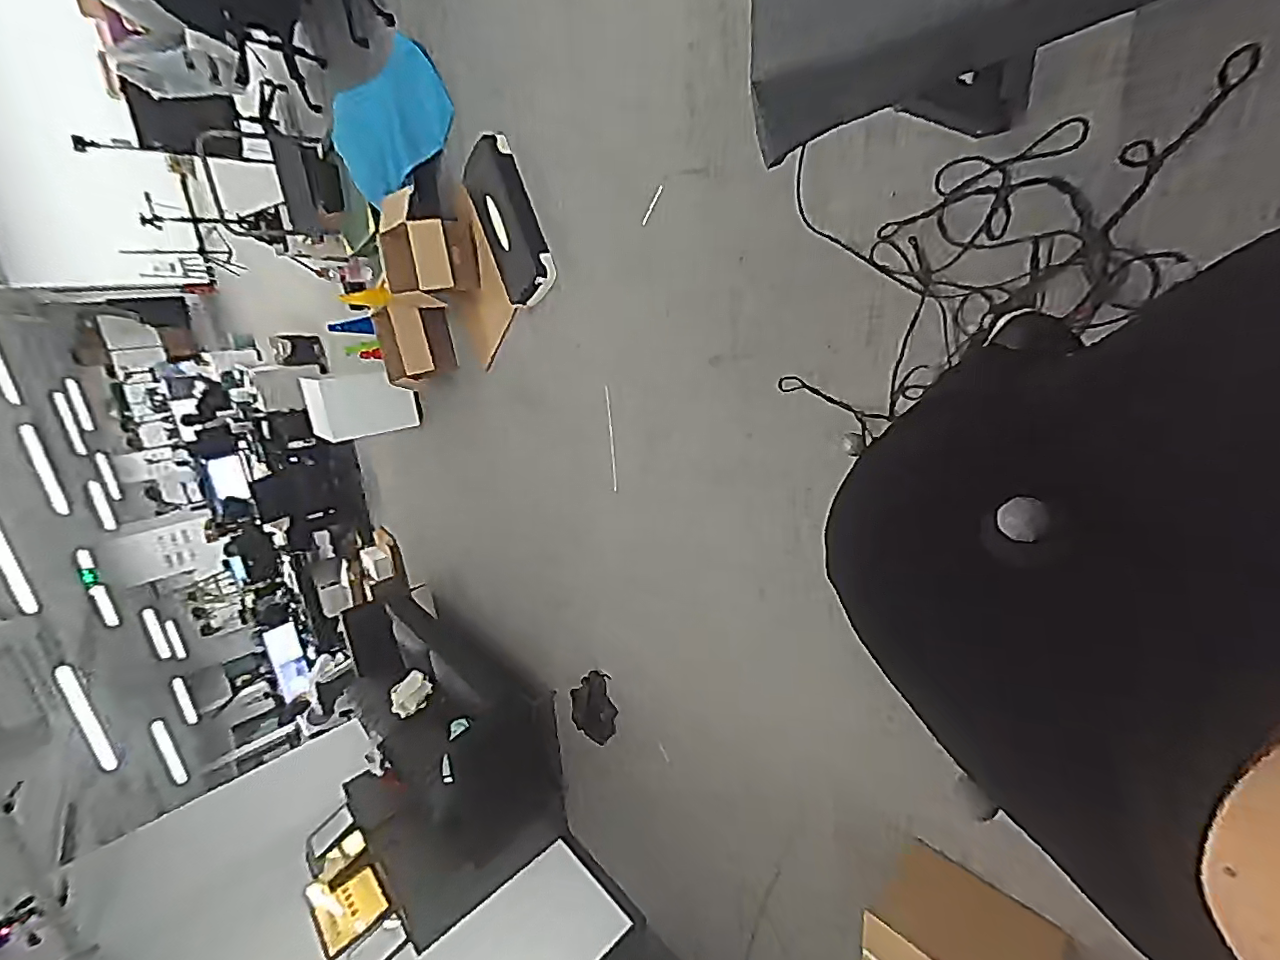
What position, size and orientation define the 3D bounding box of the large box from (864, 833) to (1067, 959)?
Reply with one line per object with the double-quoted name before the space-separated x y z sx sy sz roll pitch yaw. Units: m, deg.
"large box" 0.893 1.313 1.505 0.408 0.320 0.320 15 116 47
